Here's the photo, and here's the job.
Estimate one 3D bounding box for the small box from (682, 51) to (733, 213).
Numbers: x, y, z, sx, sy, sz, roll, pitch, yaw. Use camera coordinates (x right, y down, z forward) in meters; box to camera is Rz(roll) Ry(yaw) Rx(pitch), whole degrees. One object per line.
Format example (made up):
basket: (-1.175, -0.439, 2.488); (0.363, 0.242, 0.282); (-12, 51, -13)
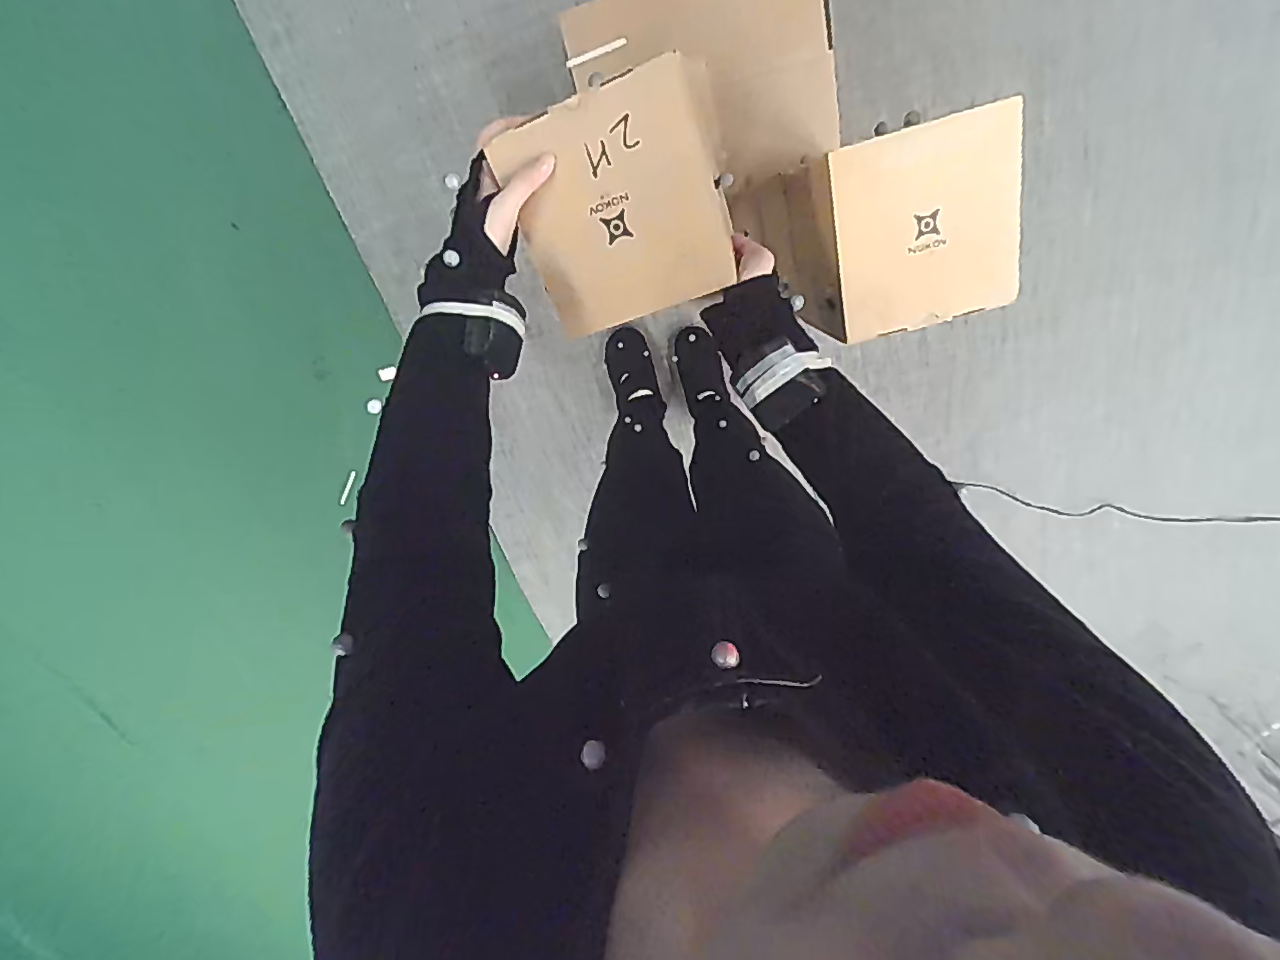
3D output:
small box: (0.011, -0.398, 0.691); (0.179, 0.176, 0.168); (-14, 113, 9)

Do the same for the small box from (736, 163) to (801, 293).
small box: (0.263, -0.413, 0.862); (0.179, 0.176, 0.168); (-15, 113, 9)

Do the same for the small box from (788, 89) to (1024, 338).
small box: (0.265, -0.267, 0.568); (0.168, 0.176, 0.179); (-14, 114, 7)

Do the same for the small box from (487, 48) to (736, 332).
small box: (-0.008, -0.271, 0.514); (0.168, 0.176, 0.179); (-14, 122, 17)
